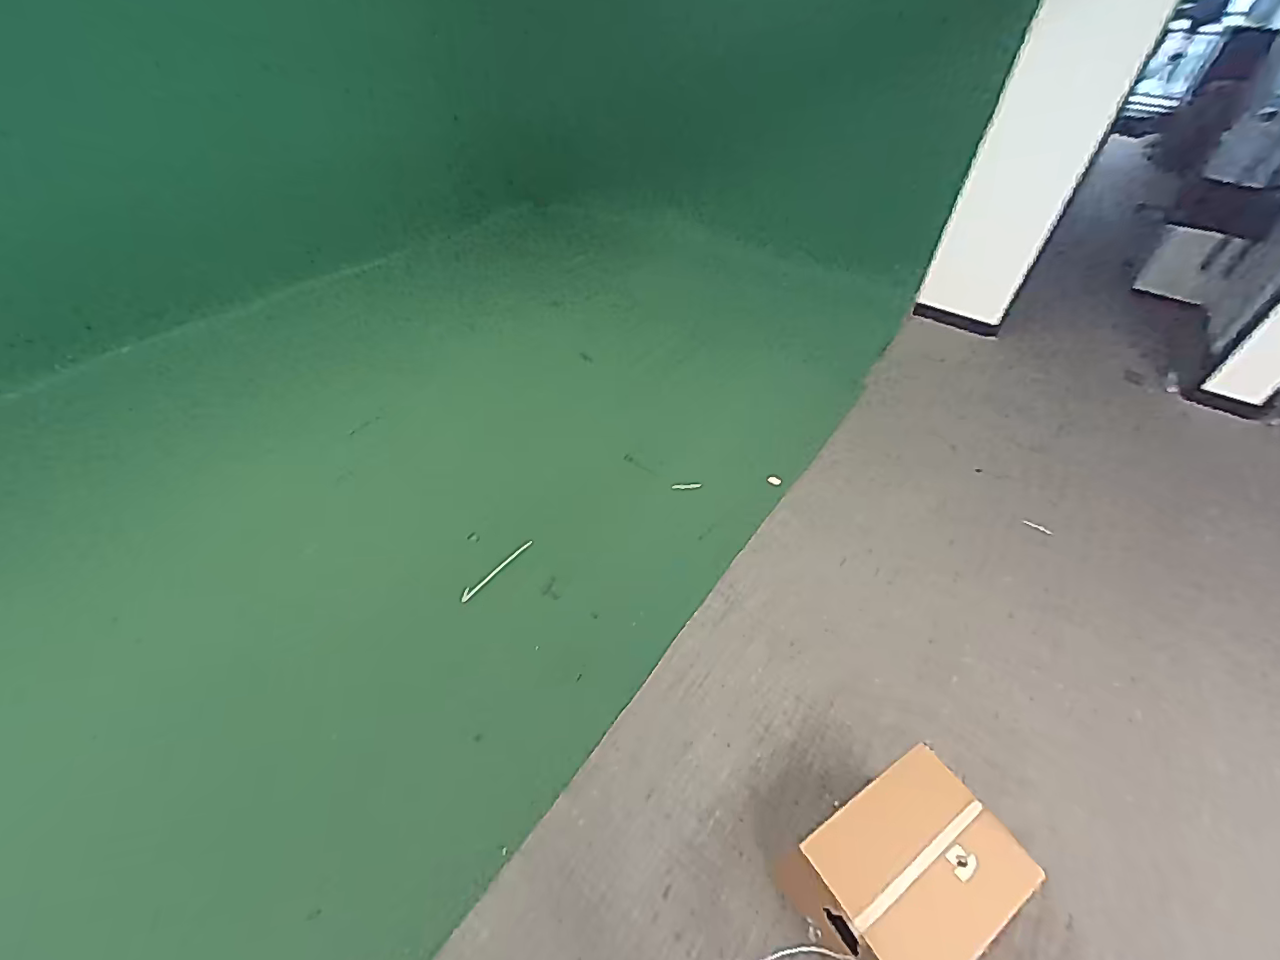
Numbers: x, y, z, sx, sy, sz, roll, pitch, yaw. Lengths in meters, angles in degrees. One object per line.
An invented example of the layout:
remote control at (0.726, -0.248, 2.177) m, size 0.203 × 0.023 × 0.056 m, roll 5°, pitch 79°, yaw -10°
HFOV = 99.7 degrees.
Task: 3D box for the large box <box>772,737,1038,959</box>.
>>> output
large box at (0.571, 0.881, 1.221) m, size 0.408 × 0.320 × 0.320 m, roll -23°, pitch 51°, yaw -24°
